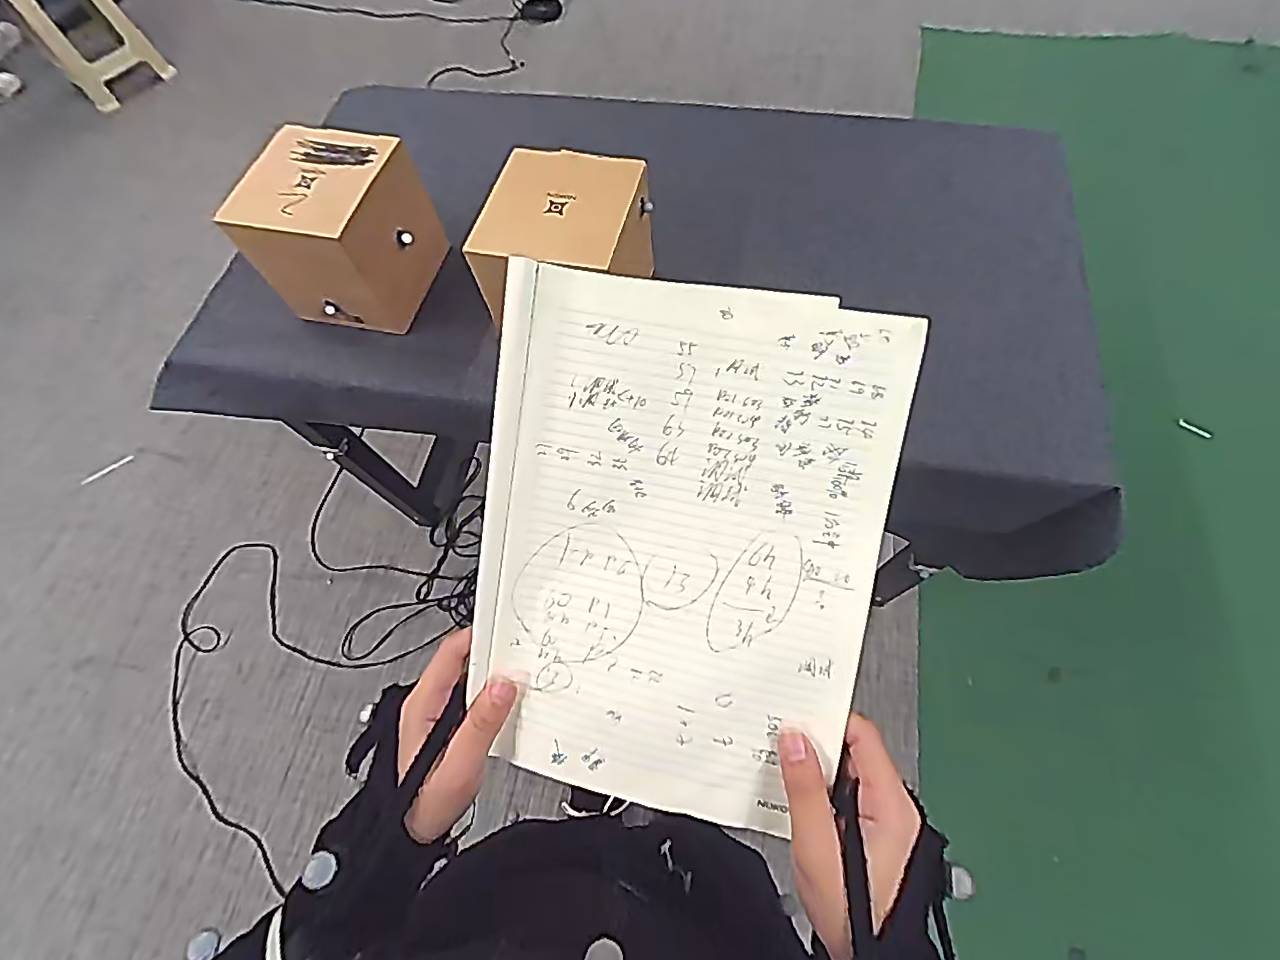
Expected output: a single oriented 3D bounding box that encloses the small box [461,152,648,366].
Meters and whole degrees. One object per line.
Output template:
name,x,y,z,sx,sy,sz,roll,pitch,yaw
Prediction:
small box,-0.088,-0.265,0.667,0.168,0.176,0.179,11,65,9
